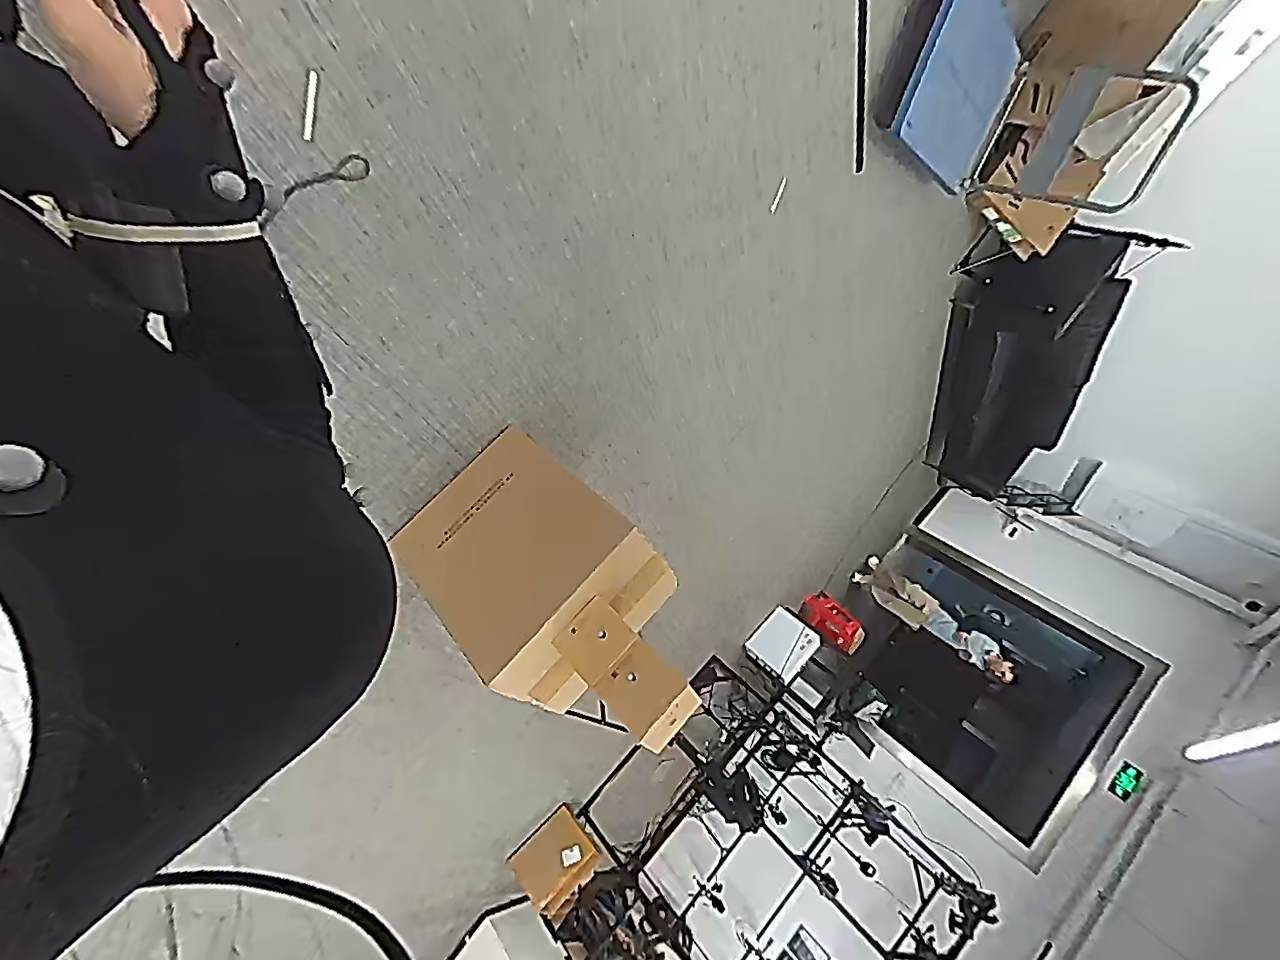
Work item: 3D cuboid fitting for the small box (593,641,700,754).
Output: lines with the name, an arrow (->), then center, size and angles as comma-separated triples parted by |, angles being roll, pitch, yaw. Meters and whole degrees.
small box -> 0.016, 0.517, 1.296 | 0.168, 0.176, 0.179 | -45, 144, -15

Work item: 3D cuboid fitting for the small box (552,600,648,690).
small box -> -0.096, 0.434, 1.385 | 0.168, 0.176, 0.179 | -46, 145, -13
